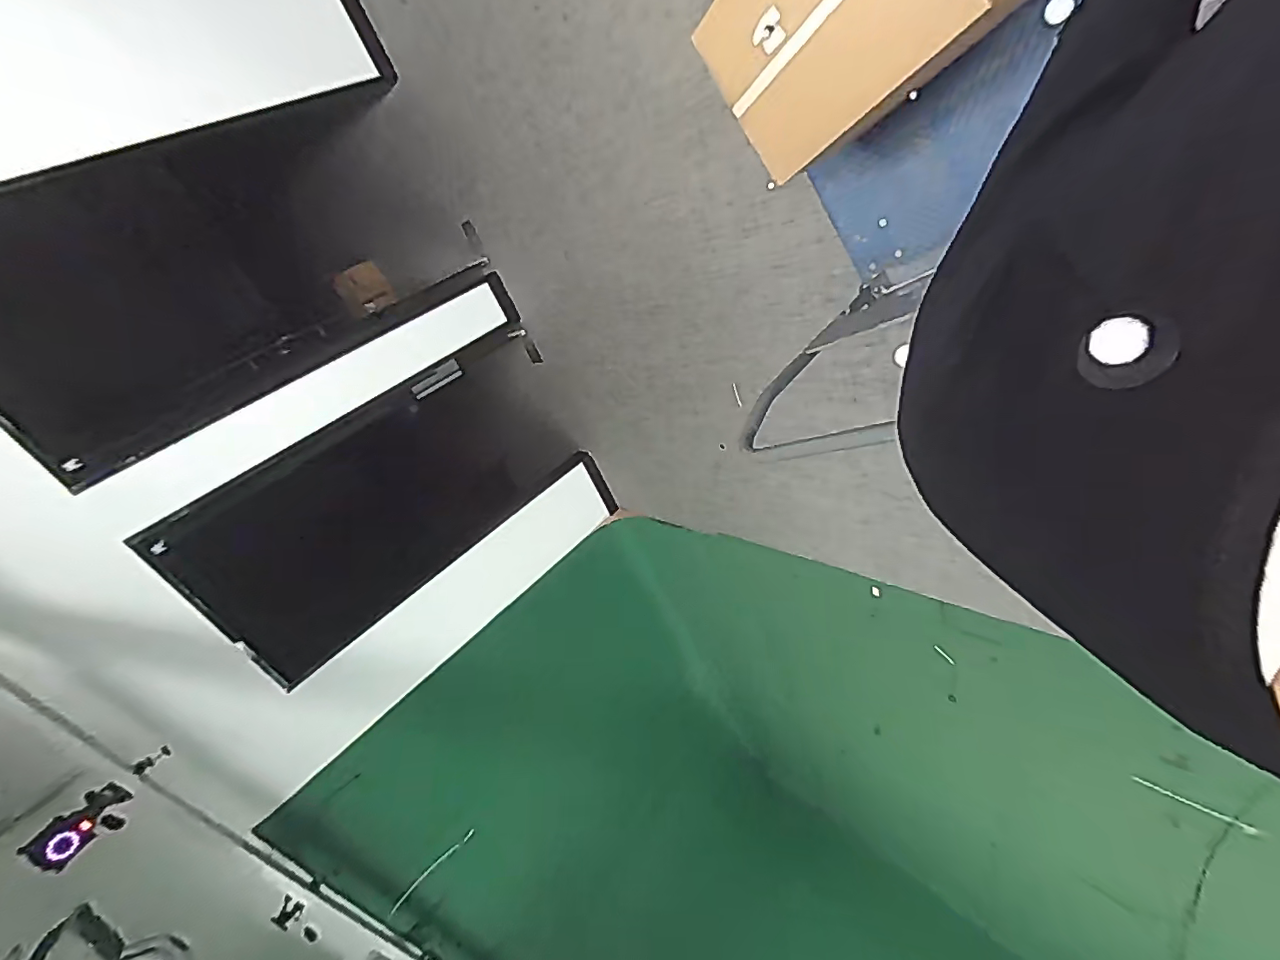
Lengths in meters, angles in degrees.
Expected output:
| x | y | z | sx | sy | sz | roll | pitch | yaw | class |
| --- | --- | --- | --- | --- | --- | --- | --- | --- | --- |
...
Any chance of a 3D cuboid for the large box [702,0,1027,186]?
| x | y | z | sx | sy | sz | roll | pitch | yaw | class |
| --- | --- | --- | --- | --- | --- | --- | --- | --- | --- |
| 0.391 | -0.809 | 0.922 | 0.320 | 0.320 | 0.408 | 56 | 153 | -10 | large box |
